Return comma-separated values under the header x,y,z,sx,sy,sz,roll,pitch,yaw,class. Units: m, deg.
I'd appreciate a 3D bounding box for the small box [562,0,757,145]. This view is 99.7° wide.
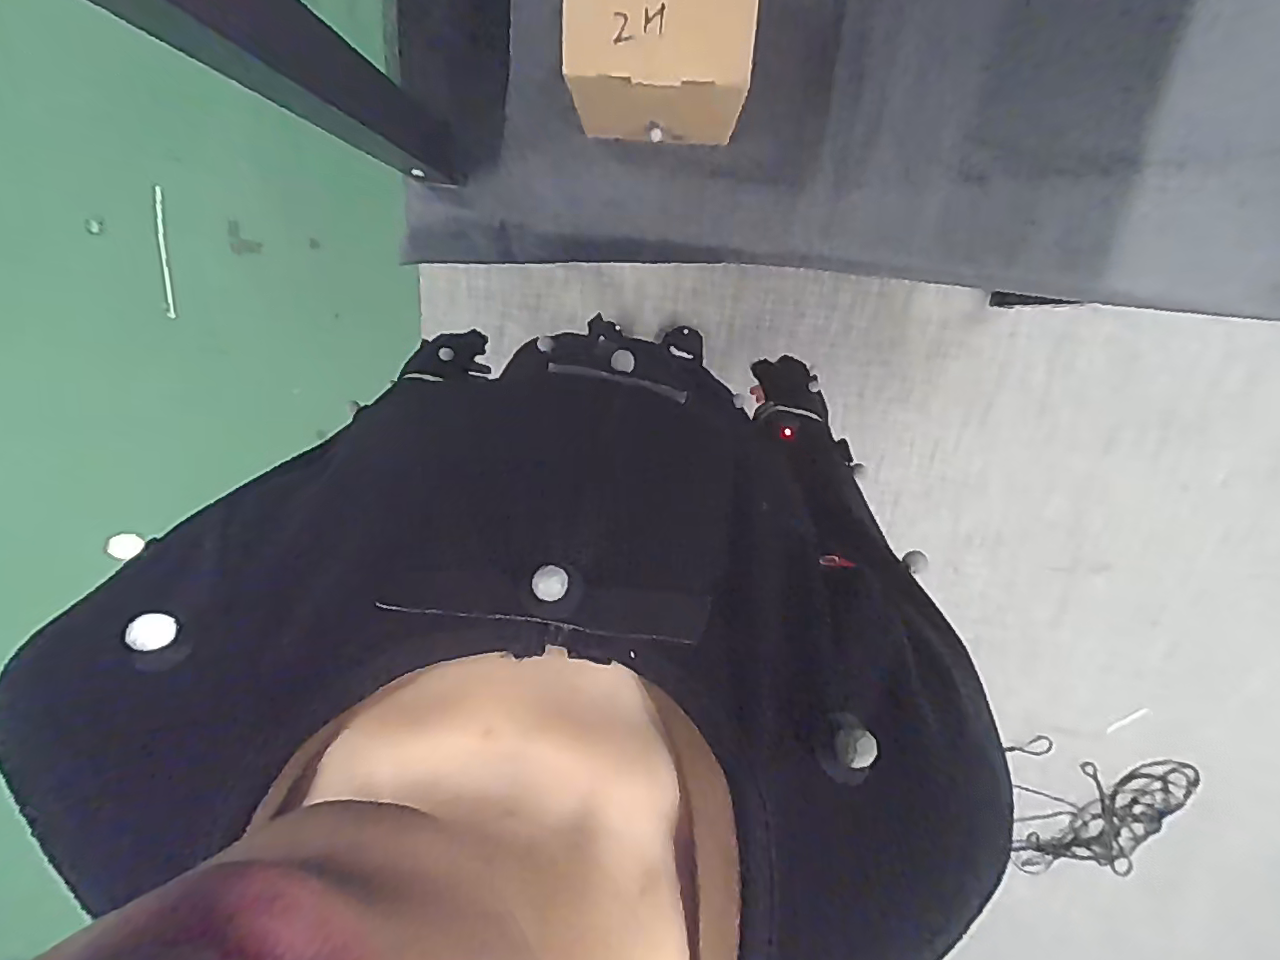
x,y,z,sx,sy,sz,roll,pitch,yaw,class
0.021,-0.455,0.524,0.168,0.176,0.179,5,107,1,small box
